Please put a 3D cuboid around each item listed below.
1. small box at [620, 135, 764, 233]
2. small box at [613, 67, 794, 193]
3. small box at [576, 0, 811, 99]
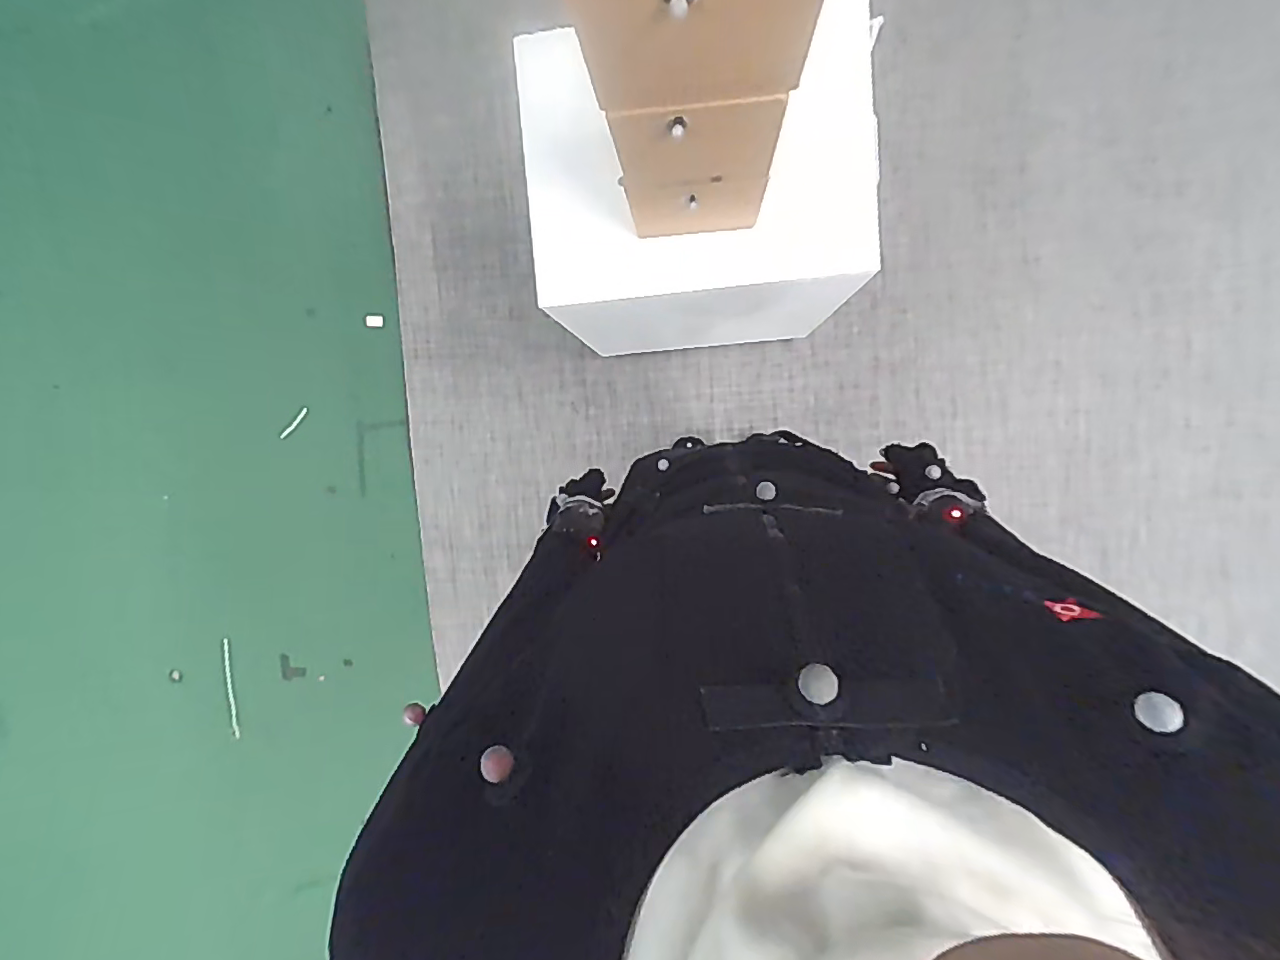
[{"bbox_3d":[0.070,-0.443,0.718,0.179,0.176,0.168,-3,95,6],"label":"small box"},{"bbox_3d":[0.057,-0.429,0.559,0.168,0.176,0.179,-4,96,6],"label":"small box"},{"bbox_3d":[0.037,-0.413,0.394,0.179,0.176,0.168,-1,96,6],"label":"small box"}]
